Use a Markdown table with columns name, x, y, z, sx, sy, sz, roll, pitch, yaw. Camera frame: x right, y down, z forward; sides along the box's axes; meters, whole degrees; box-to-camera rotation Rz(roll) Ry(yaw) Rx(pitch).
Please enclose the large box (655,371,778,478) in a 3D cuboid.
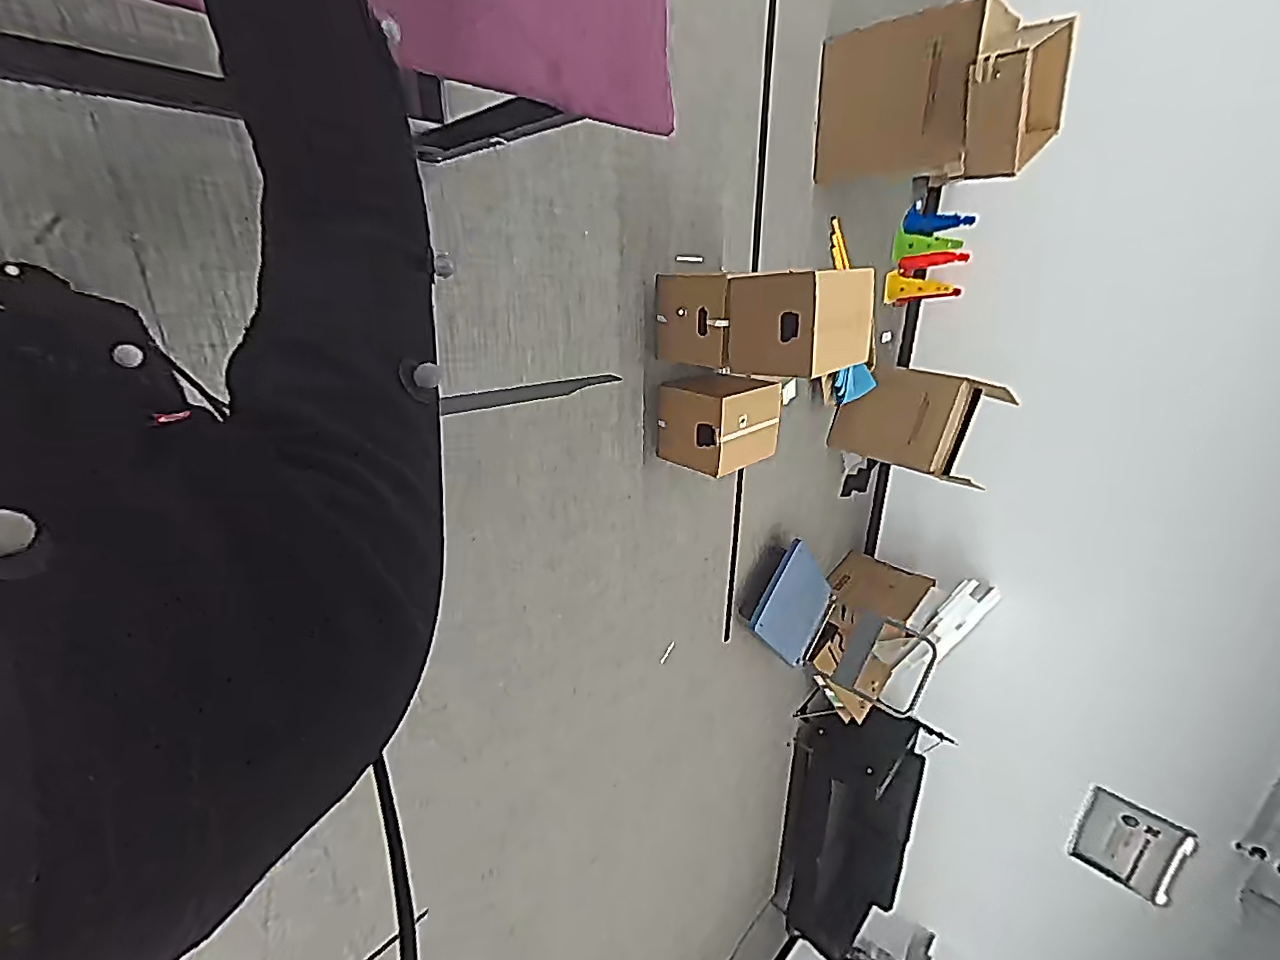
| name | x | y | z | sx | sy | sz | roll | pitch | yaw |
| --- | --- | --- | --- | --- | --- | --- | --- | --- | --- |
| large box | 0.309 | -0.244 | 2.194 | 0.408 | 0.320 | 0.320 | -21 | 119 | -41 |
